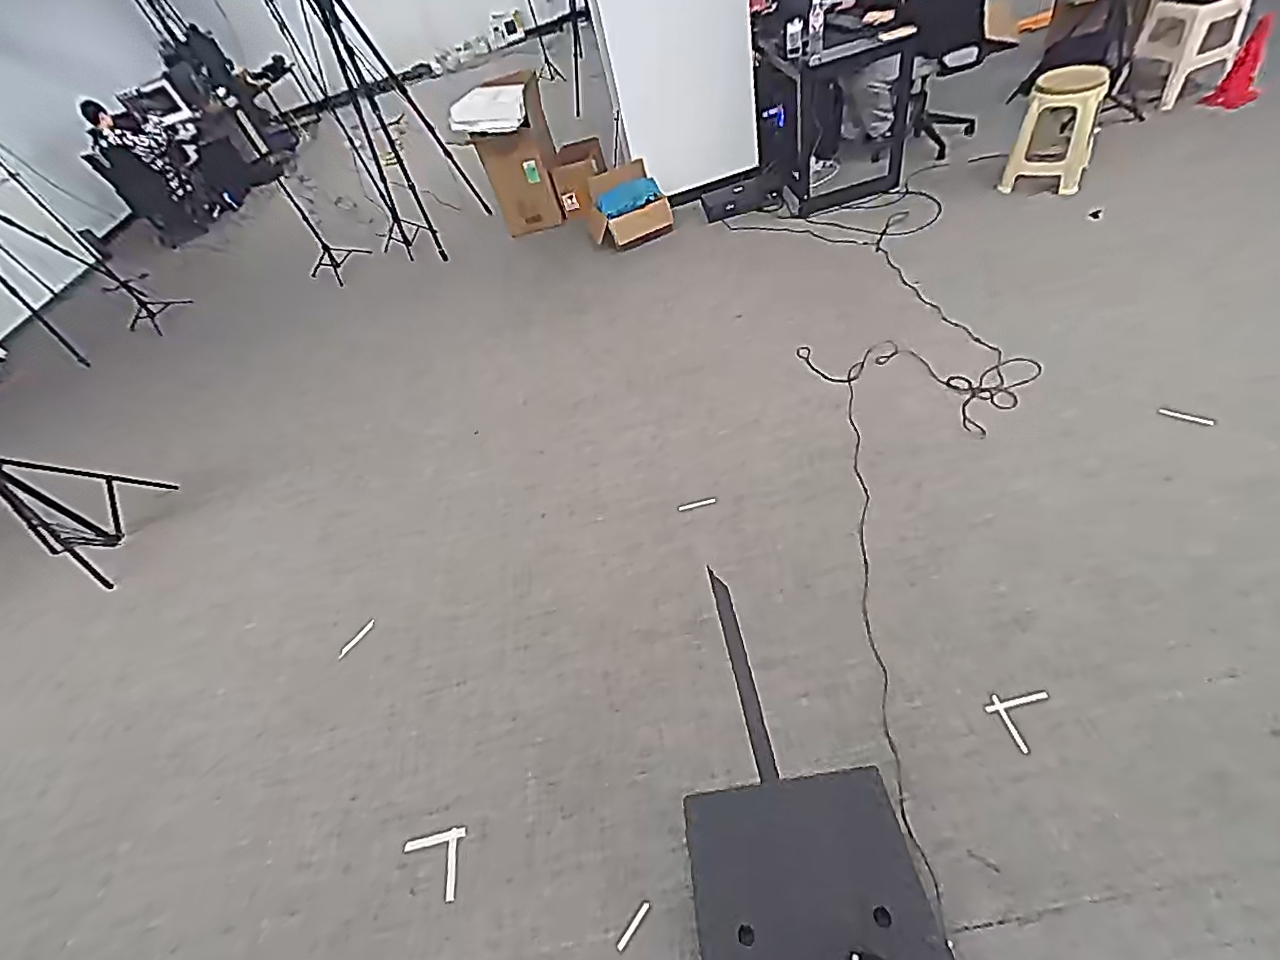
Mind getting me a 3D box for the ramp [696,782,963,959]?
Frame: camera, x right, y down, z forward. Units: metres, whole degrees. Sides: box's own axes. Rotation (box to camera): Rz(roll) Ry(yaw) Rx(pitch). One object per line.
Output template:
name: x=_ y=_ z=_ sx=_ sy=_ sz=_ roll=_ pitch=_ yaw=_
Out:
ramp: x=0.404 y=1.090 z=0.946 sx=0.509 sy=0.206 sz=0.991 roll=-17 pitch=45 yaw=5
